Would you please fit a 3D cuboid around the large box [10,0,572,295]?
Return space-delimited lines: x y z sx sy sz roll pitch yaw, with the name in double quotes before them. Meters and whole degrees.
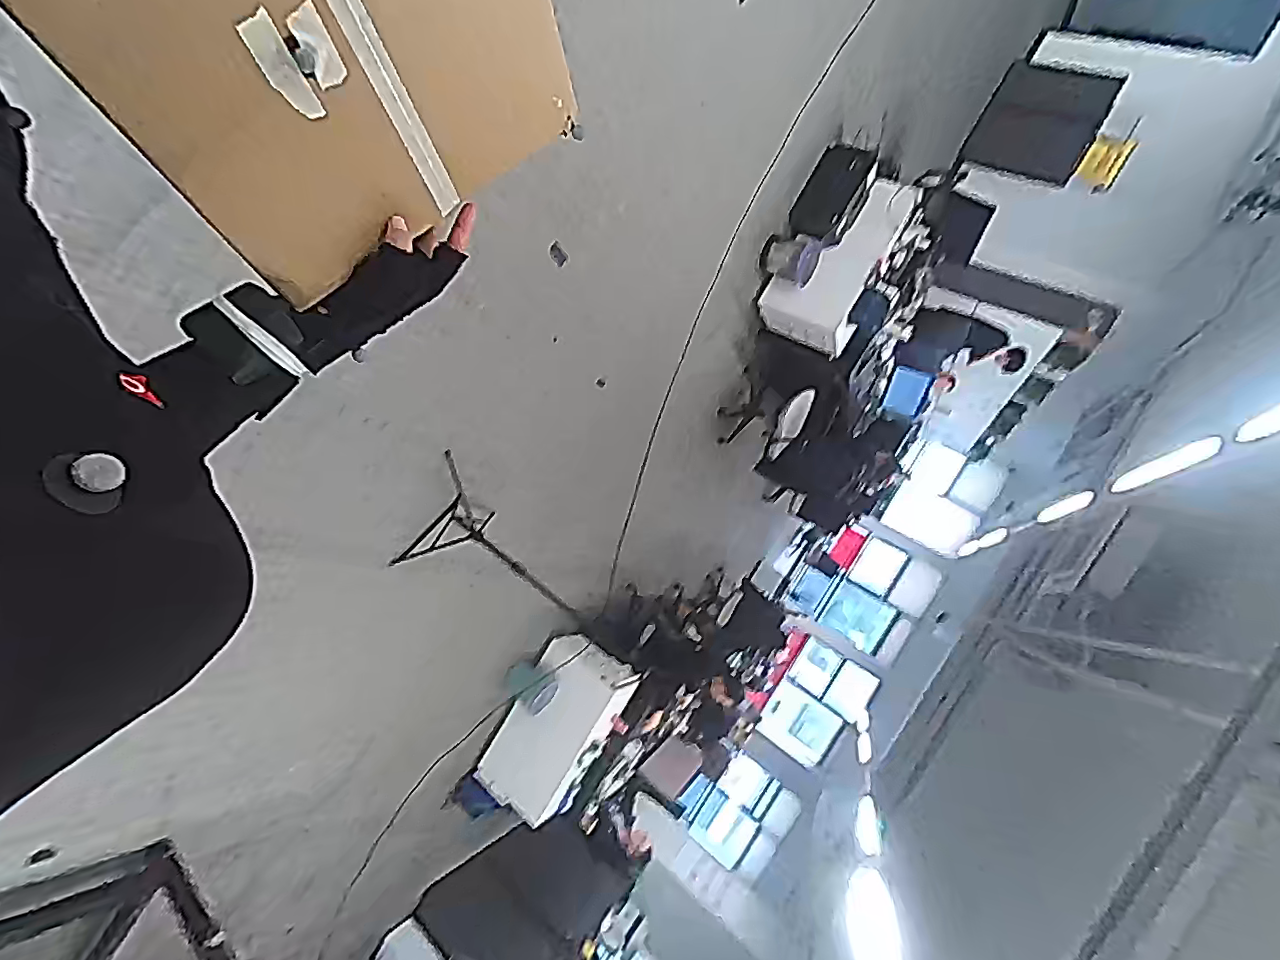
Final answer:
"large box" -0.308 -0.431 0.380 0.320 0.320 0.408 -42 153 -13
